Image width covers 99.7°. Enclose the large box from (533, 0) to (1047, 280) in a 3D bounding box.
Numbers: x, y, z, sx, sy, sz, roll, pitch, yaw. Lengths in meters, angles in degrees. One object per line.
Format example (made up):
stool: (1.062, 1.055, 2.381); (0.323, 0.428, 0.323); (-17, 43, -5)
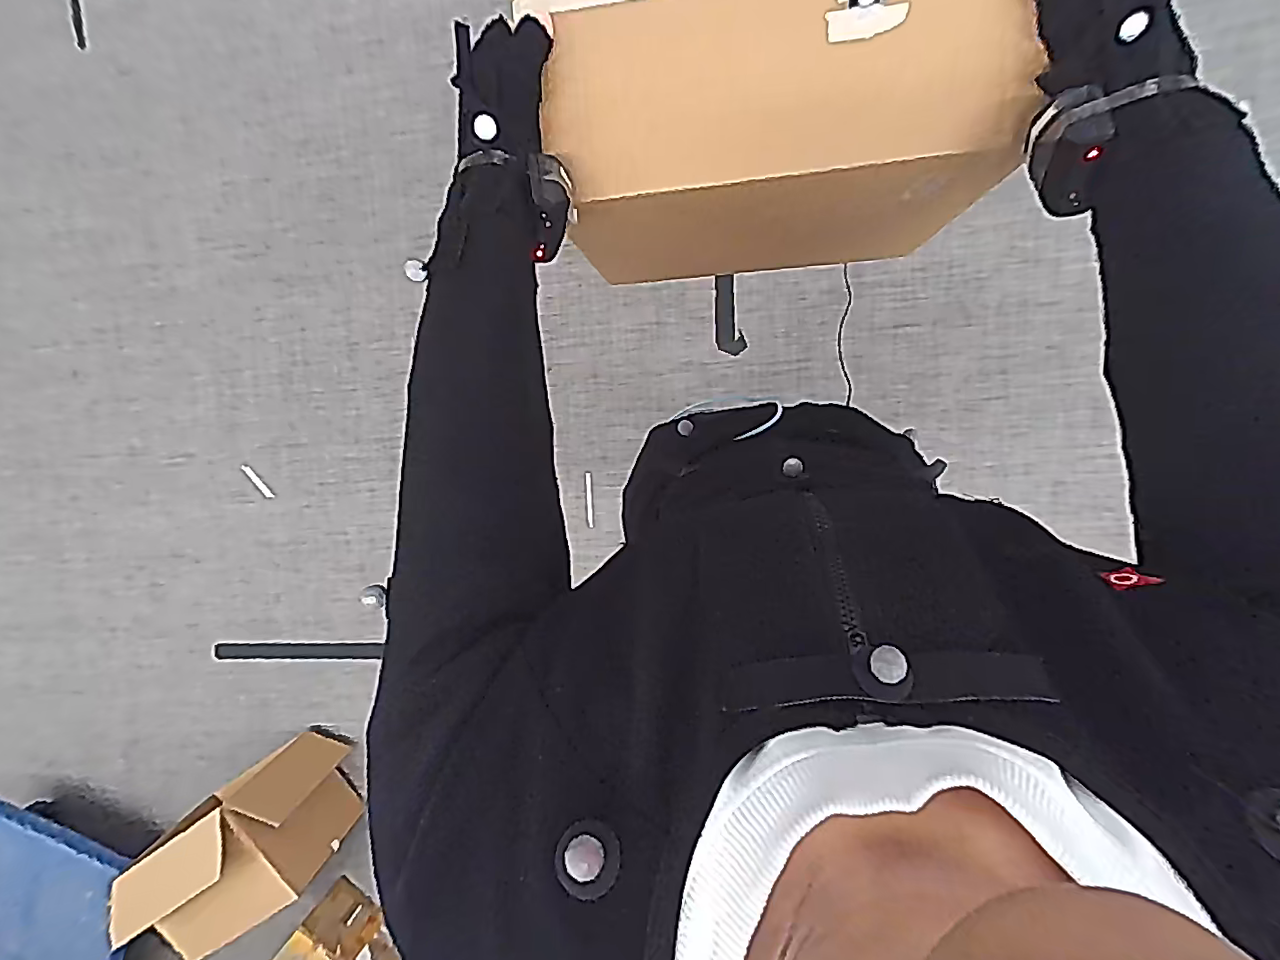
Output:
large box: (0.122, -0.426, 0.572); (0.408, 0.320, 0.320); (-3, 98, 7)
